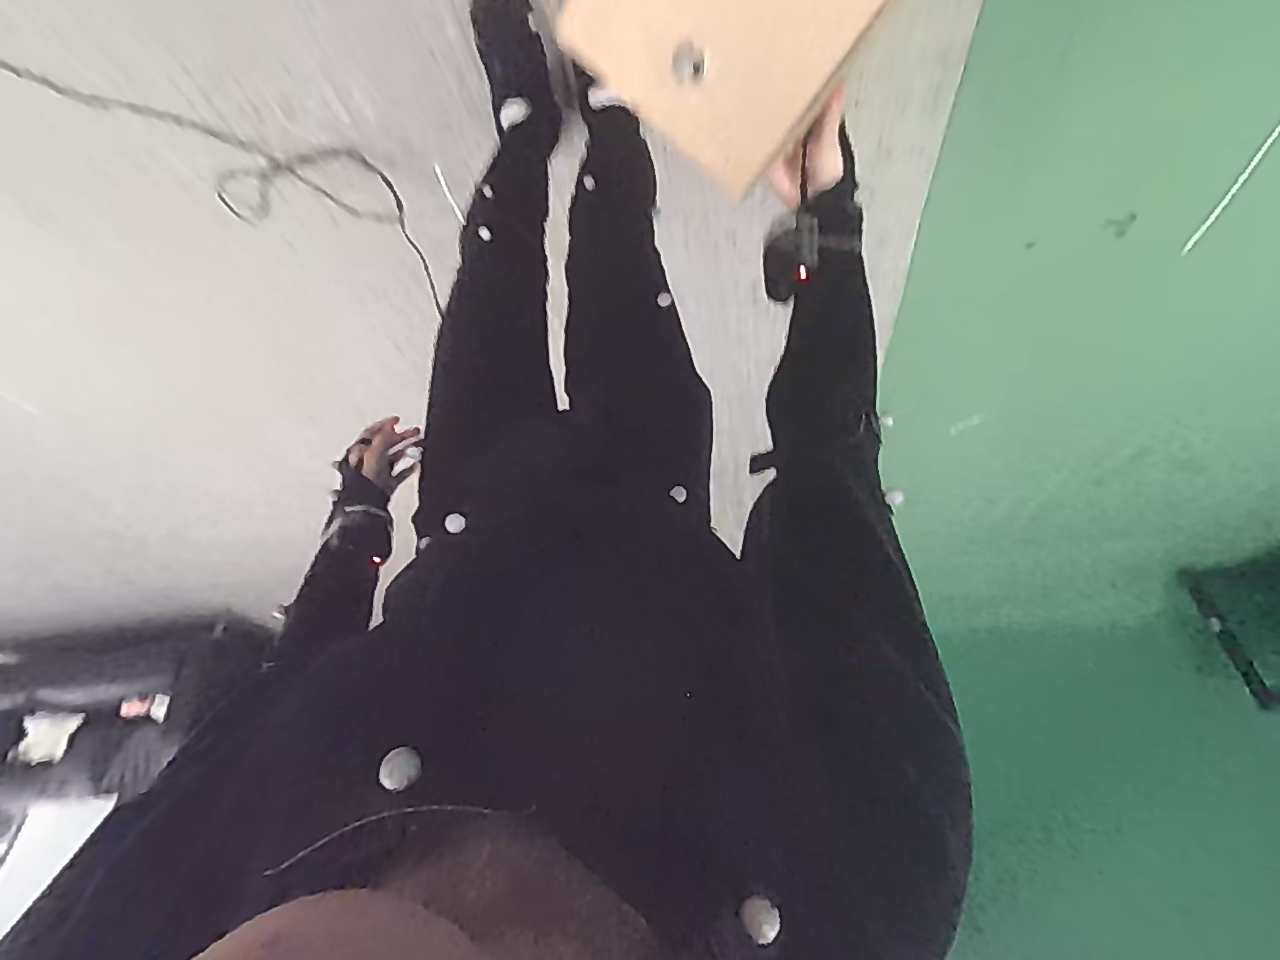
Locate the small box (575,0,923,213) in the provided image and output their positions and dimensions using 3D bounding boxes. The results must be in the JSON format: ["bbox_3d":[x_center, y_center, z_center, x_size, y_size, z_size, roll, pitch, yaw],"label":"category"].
[{"bbox_3d":[0.080,-0.326,0.359,0.176,0.168,0.179,38,139,-6],"label":"small box"}]
